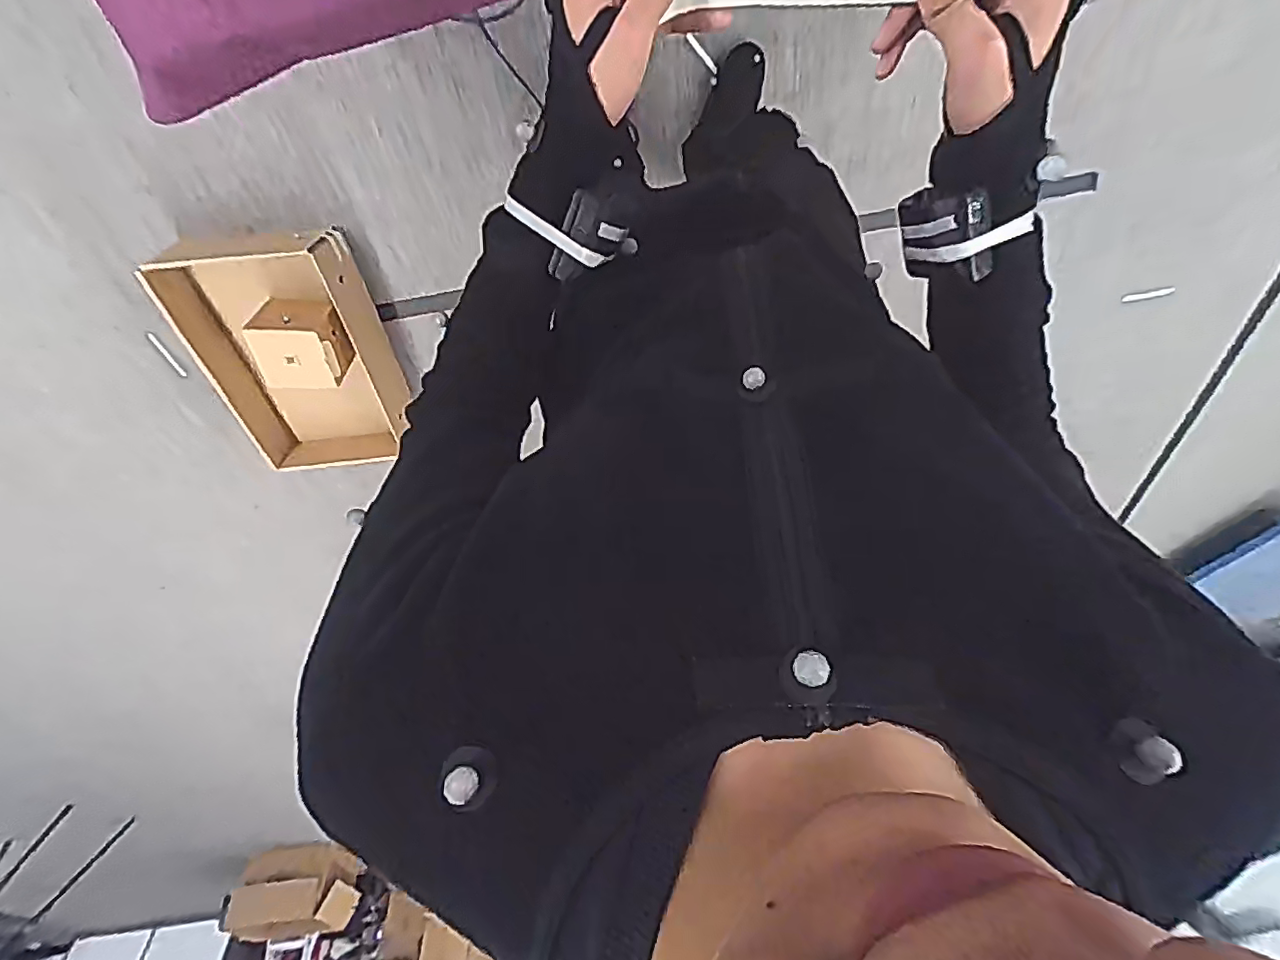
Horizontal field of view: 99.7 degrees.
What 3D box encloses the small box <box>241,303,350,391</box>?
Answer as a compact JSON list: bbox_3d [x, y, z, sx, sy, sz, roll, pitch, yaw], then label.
[{"bbox_3d":[-0.875,-0.347,1.400,0.179,0.176,0.168,-1,133,-7],"label":"small box"}]
